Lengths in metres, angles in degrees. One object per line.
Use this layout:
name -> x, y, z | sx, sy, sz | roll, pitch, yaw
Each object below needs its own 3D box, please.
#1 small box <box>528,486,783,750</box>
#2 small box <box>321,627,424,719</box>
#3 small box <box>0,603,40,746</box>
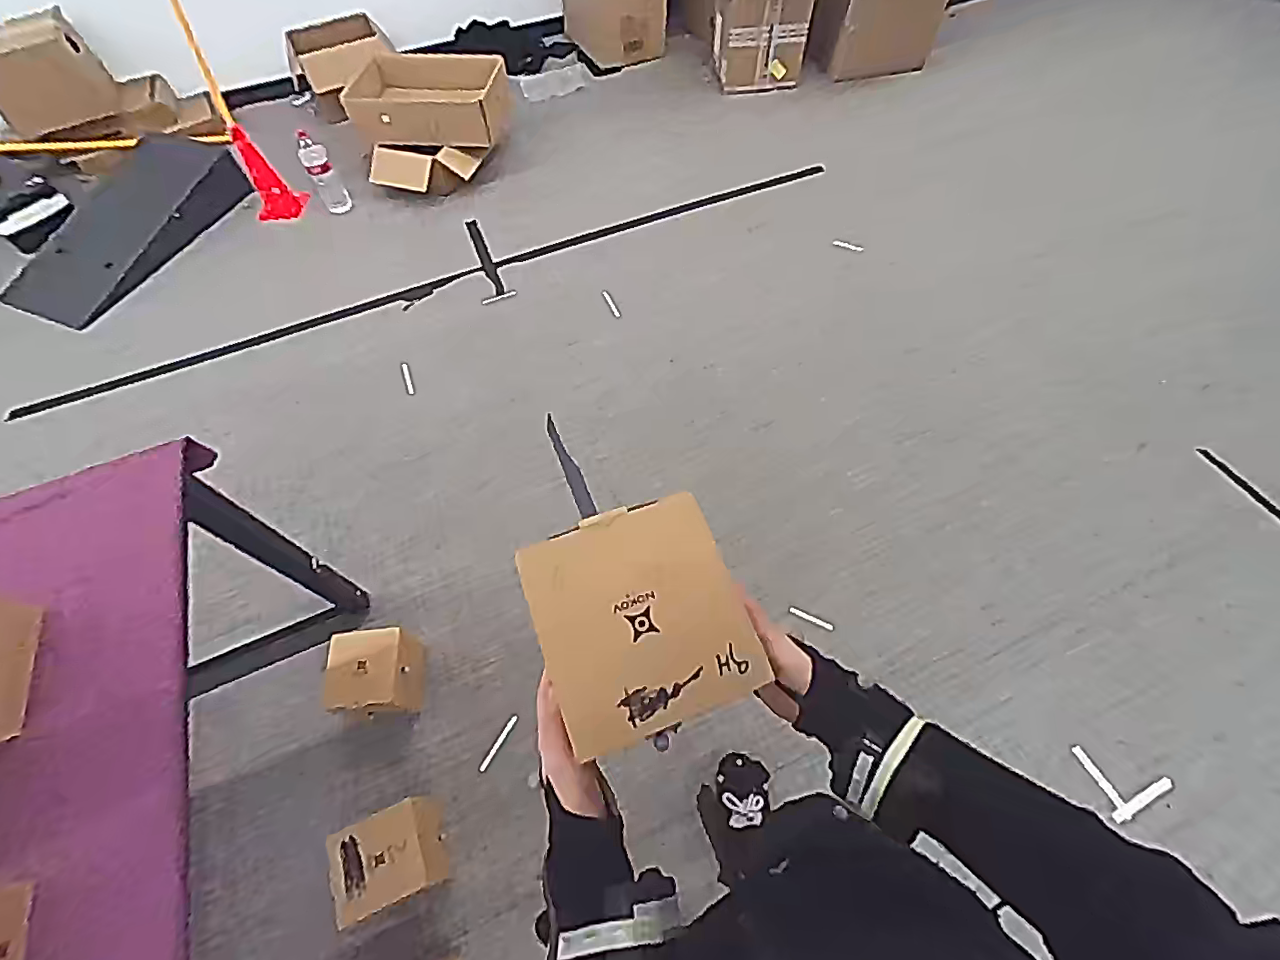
small box -> 0.006, 0.134, 0.512 | 0.168, 0.176, 0.179 | -19, 68, -9
small box -> -0.649, 0.480, 1.336 | 0.168, 0.176, 0.179 | -6, 61, -2
small box -> -0.885, 0.239, 0.639 | 0.168, 0.176, 0.179 | -20, 62, -8
